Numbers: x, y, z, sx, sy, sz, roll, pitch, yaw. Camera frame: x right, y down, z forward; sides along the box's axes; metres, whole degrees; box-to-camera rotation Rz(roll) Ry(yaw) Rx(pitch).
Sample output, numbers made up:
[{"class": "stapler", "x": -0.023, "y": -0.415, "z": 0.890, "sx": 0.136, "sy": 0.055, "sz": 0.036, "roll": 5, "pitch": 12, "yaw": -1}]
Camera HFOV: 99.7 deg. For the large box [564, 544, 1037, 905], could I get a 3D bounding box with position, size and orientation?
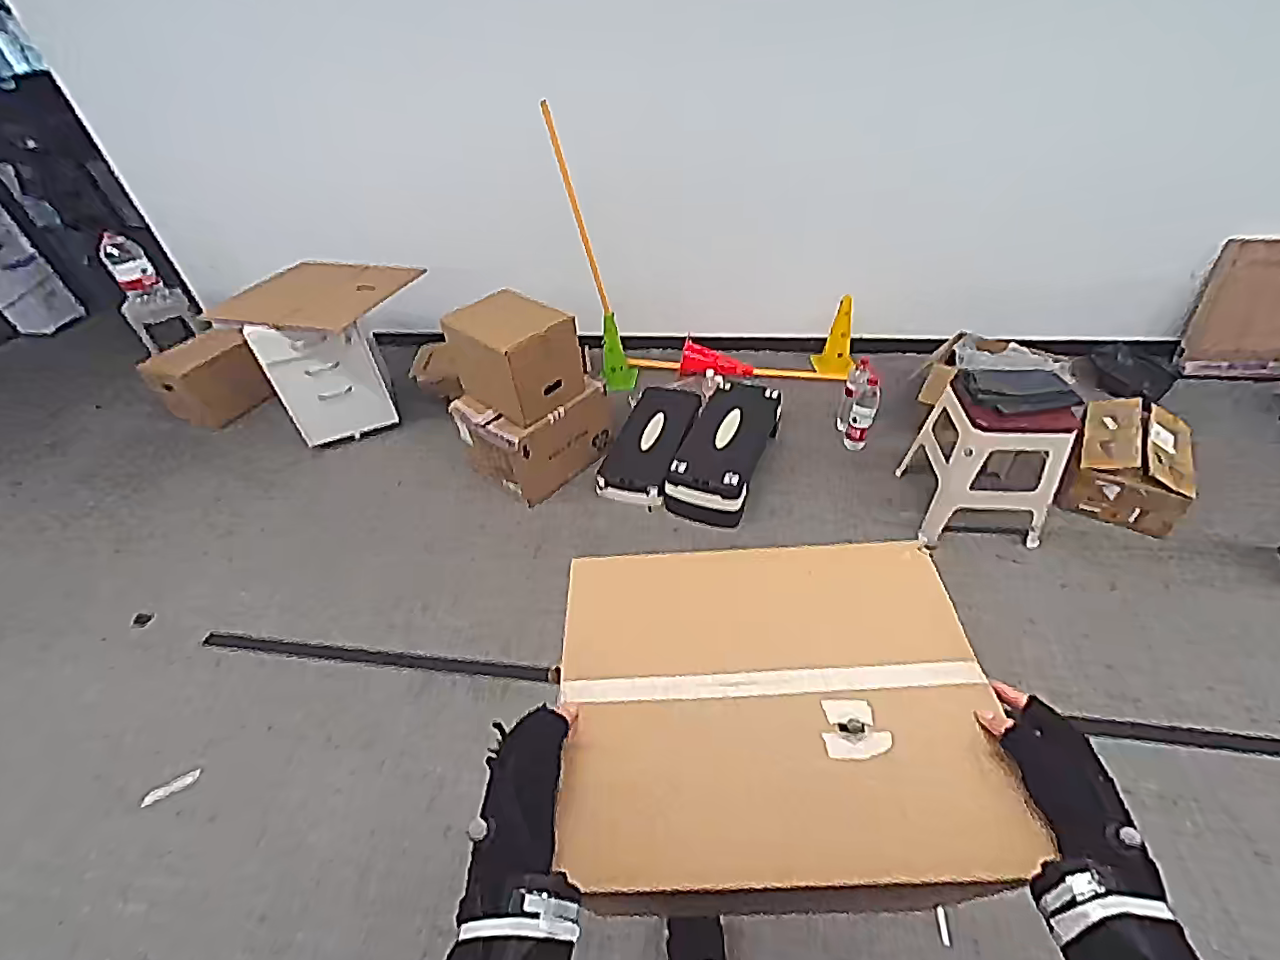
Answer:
[{"class": "large box", "x": 0.135, "y": 0.301, "z": 0.657, "sx": 0.408, "sy": 0.320, "sz": 0.320, "roll": -3, "pitch": 49, "yaw": 2}]
